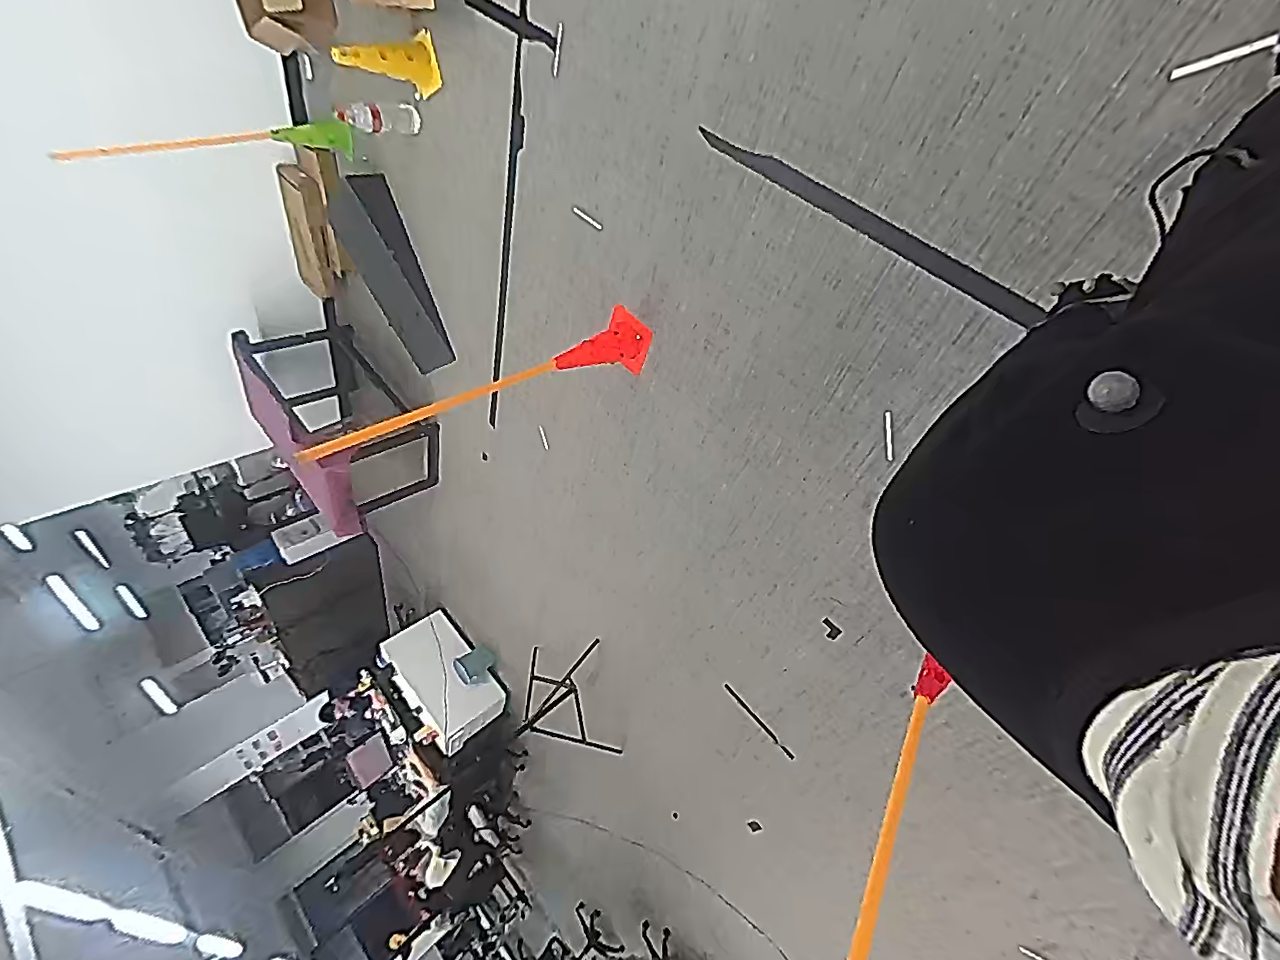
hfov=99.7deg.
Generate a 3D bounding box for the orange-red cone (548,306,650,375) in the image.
[{"bbox_3d":[-0.173,-0.450,1.888,0.199,0.360,0.198,46,139,19],"label":"orange-red cone"}]
